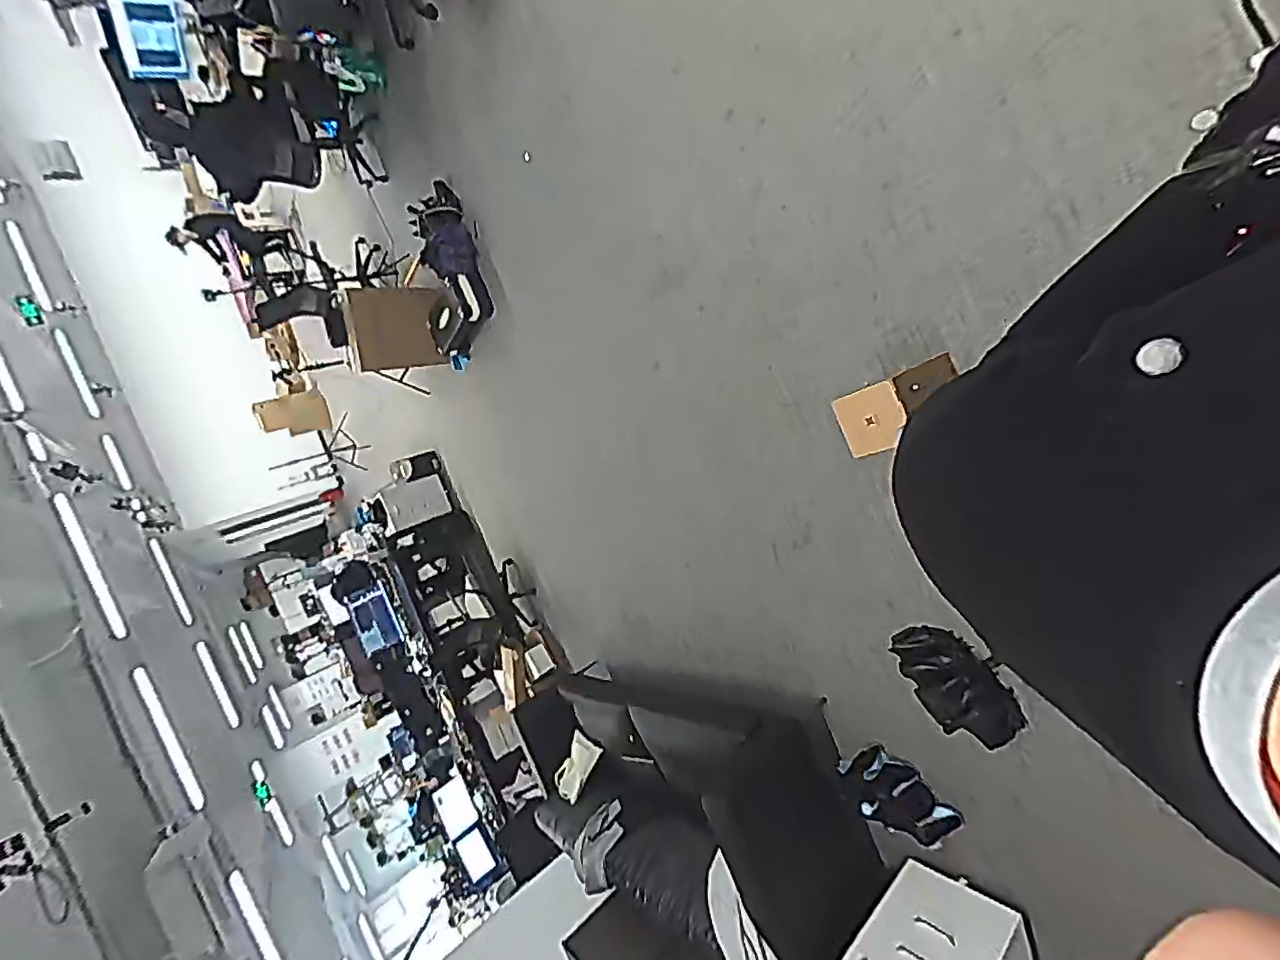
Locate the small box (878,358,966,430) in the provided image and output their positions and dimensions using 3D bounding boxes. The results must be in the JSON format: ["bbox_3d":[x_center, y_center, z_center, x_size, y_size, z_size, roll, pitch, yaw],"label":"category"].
[{"bbox_3d":[0.774,-0.219,1.504,0.179,0.176,0.168,-24,91,56],"label":"small box"}]

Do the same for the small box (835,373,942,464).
[{"bbox_3d":[0.654,-0.162,1.410,0.179,0.176,0.168,-23,91,57],"label":"small box"}]
